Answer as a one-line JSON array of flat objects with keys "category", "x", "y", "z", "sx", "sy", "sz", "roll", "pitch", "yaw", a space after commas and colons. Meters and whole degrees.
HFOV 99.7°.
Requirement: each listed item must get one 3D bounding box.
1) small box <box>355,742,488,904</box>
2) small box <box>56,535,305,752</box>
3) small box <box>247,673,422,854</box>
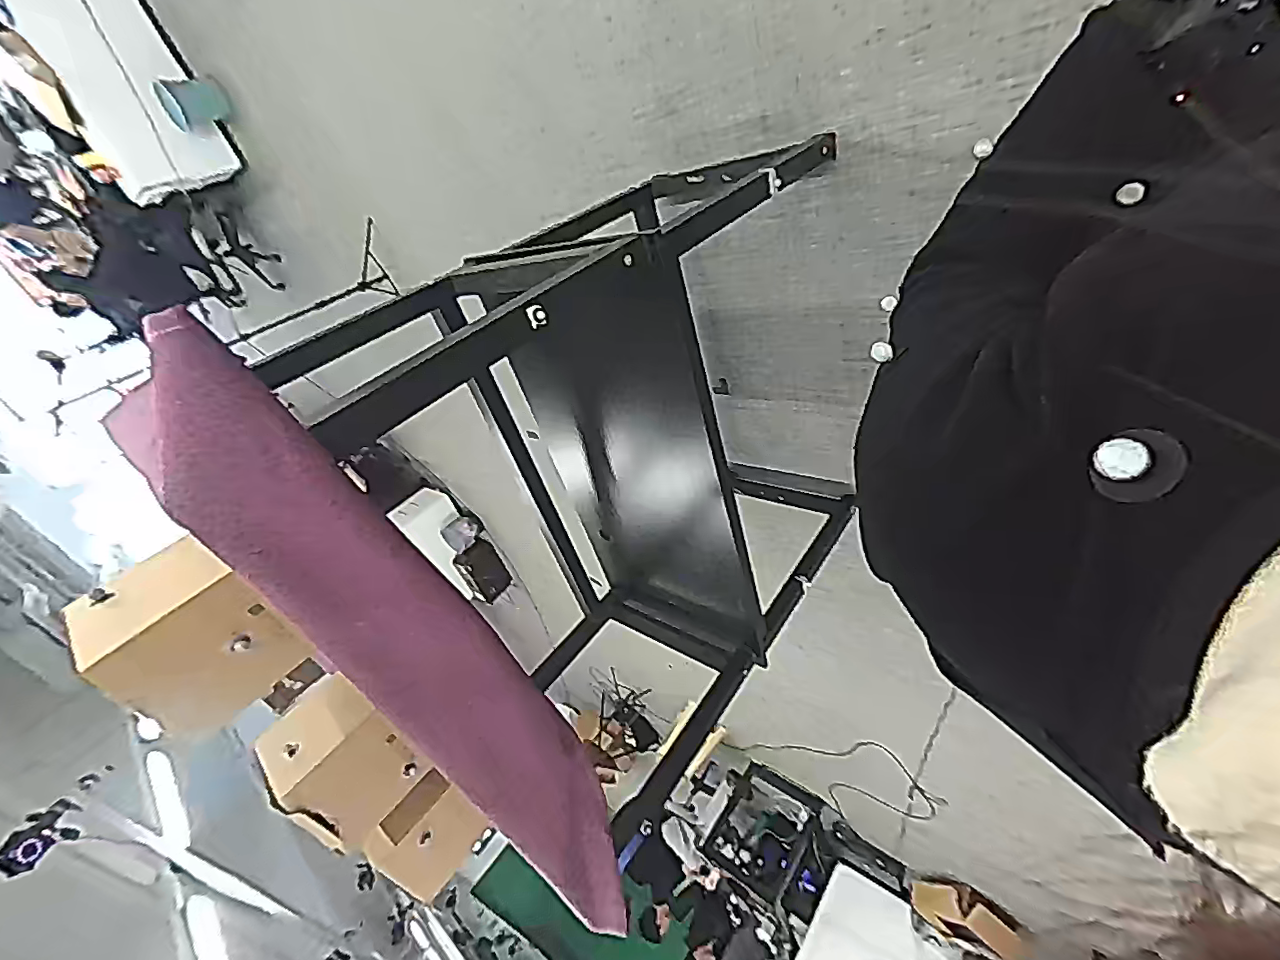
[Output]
[{"category": "small box", "x": -0.427, "y": 0.639, "z": 1.026, "sx": 0.168, "sy": 0.176, "sz": 0.179, "roll": 15, "pitch": 137, "yaw": 41}, {"category": "small box", "x": -0.572, "y": 0.194, "z": 0.690, "sx": 0.179, "sy": 0.176, "sz": 0.168, "roll": 18, "pitch": 139, "yaw": 38}, {"category": "small box", "x": -0.489, "y": 0.450, "z": 0.885, "sx": 0.179, "sy": 0.176, "sz": 0.168, "roll": 10, "pitch": 134, "yaw": 44}]
